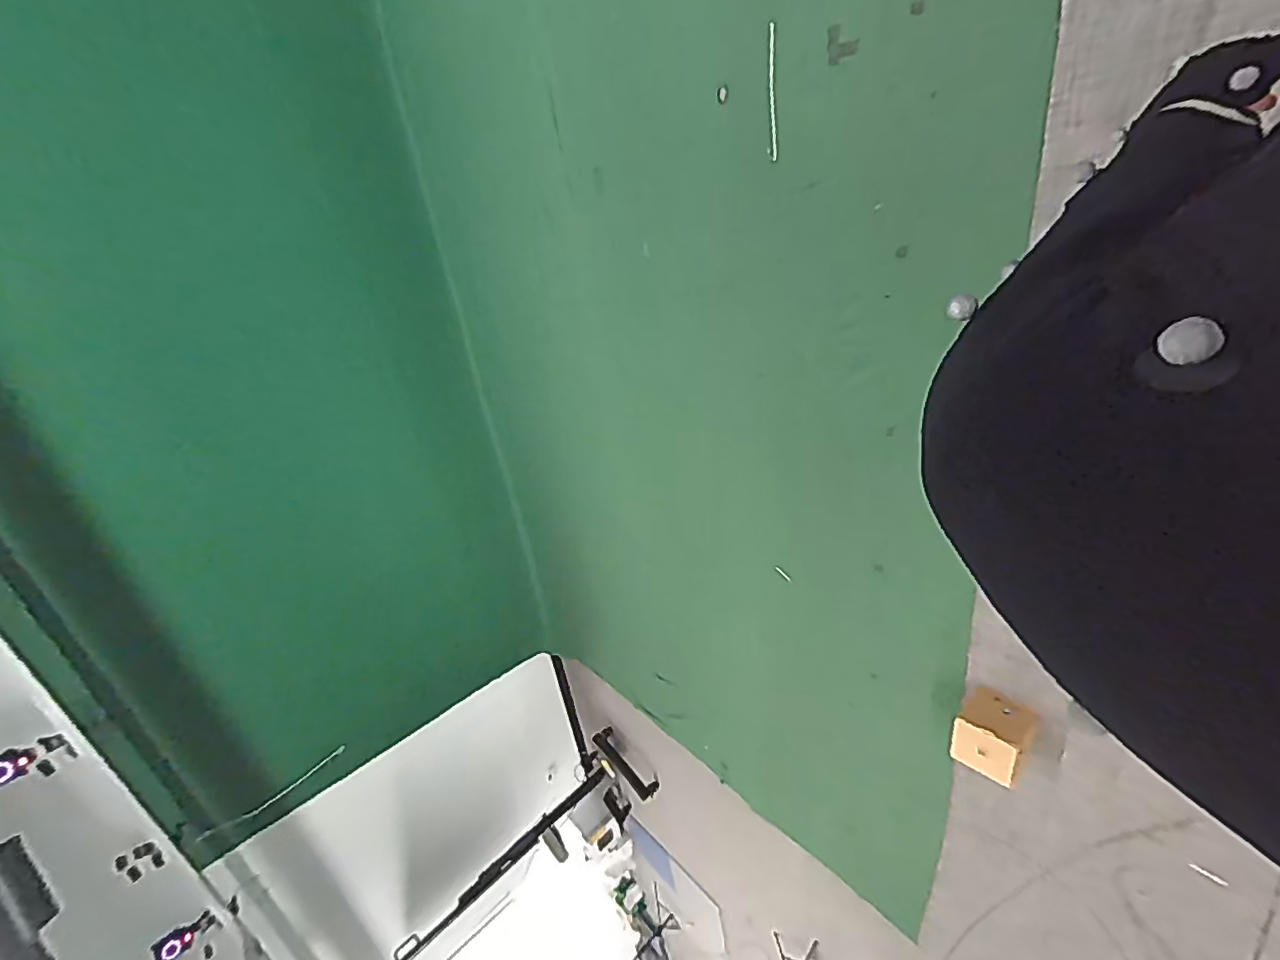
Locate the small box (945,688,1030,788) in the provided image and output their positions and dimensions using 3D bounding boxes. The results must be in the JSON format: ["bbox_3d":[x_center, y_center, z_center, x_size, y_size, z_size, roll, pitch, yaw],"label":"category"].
[{"bbox_3d":[1.055,0.776,1.641,0.168,0.176,0.179,19,125,46],"label":"small box"}]
